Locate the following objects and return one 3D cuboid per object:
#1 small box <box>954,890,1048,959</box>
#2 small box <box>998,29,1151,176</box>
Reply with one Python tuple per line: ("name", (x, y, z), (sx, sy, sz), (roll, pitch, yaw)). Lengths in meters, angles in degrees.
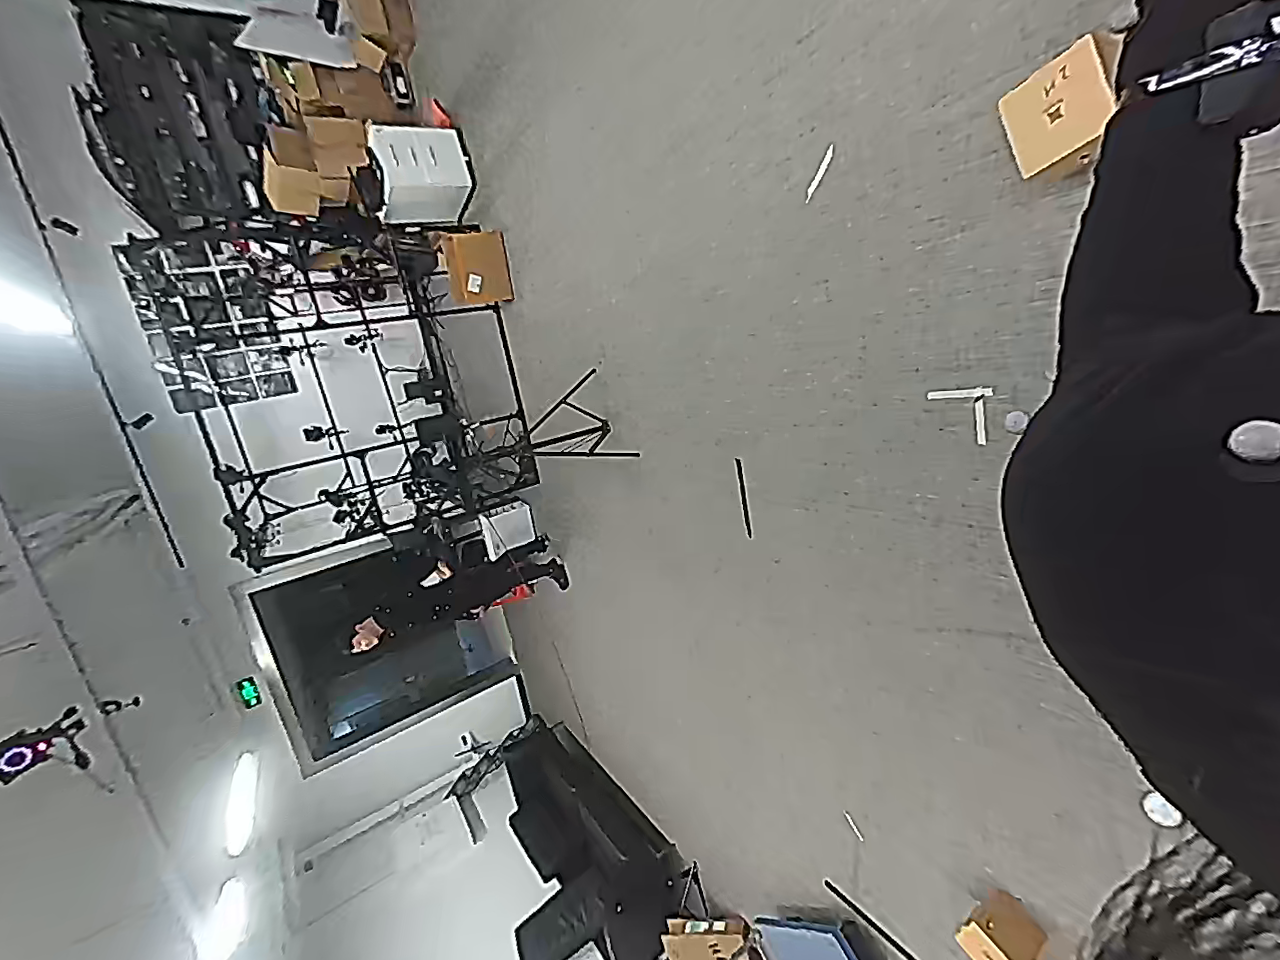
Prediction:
("small box", (1.195, 1.518, 1.787), (0.179, 0.176, 0.168), (42, 140, 41))
("small box", (0.859, -0.734, 1.067), (0.168, 0.176, 0.179), (-18, 90, 61))
